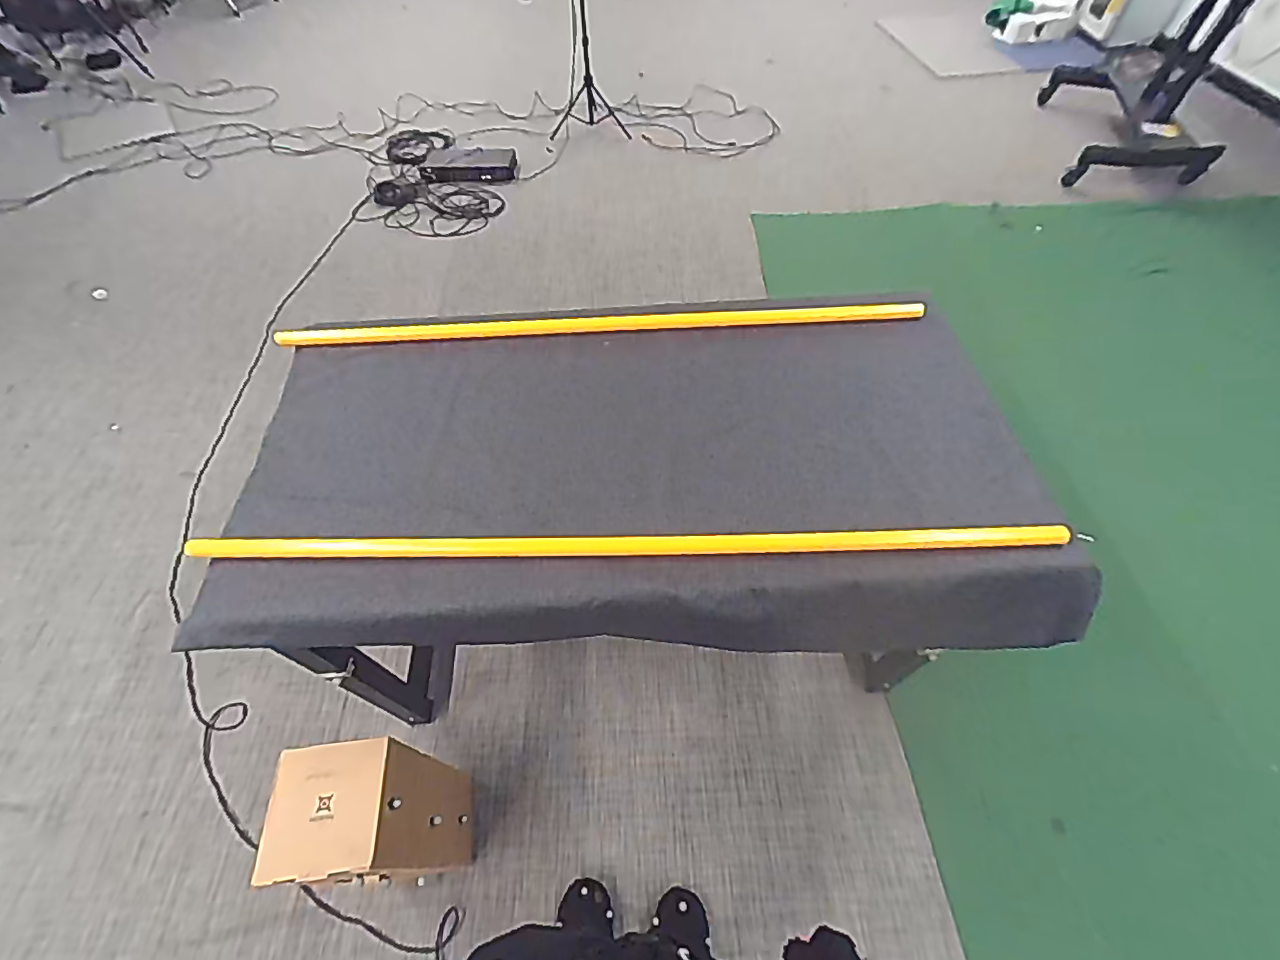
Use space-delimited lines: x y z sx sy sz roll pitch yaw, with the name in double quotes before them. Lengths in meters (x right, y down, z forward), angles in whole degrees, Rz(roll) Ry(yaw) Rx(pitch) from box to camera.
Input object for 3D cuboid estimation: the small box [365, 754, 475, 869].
"small box" -0.453 0.699 1.139 0.168 0.176 0.179 -9 57 -5
